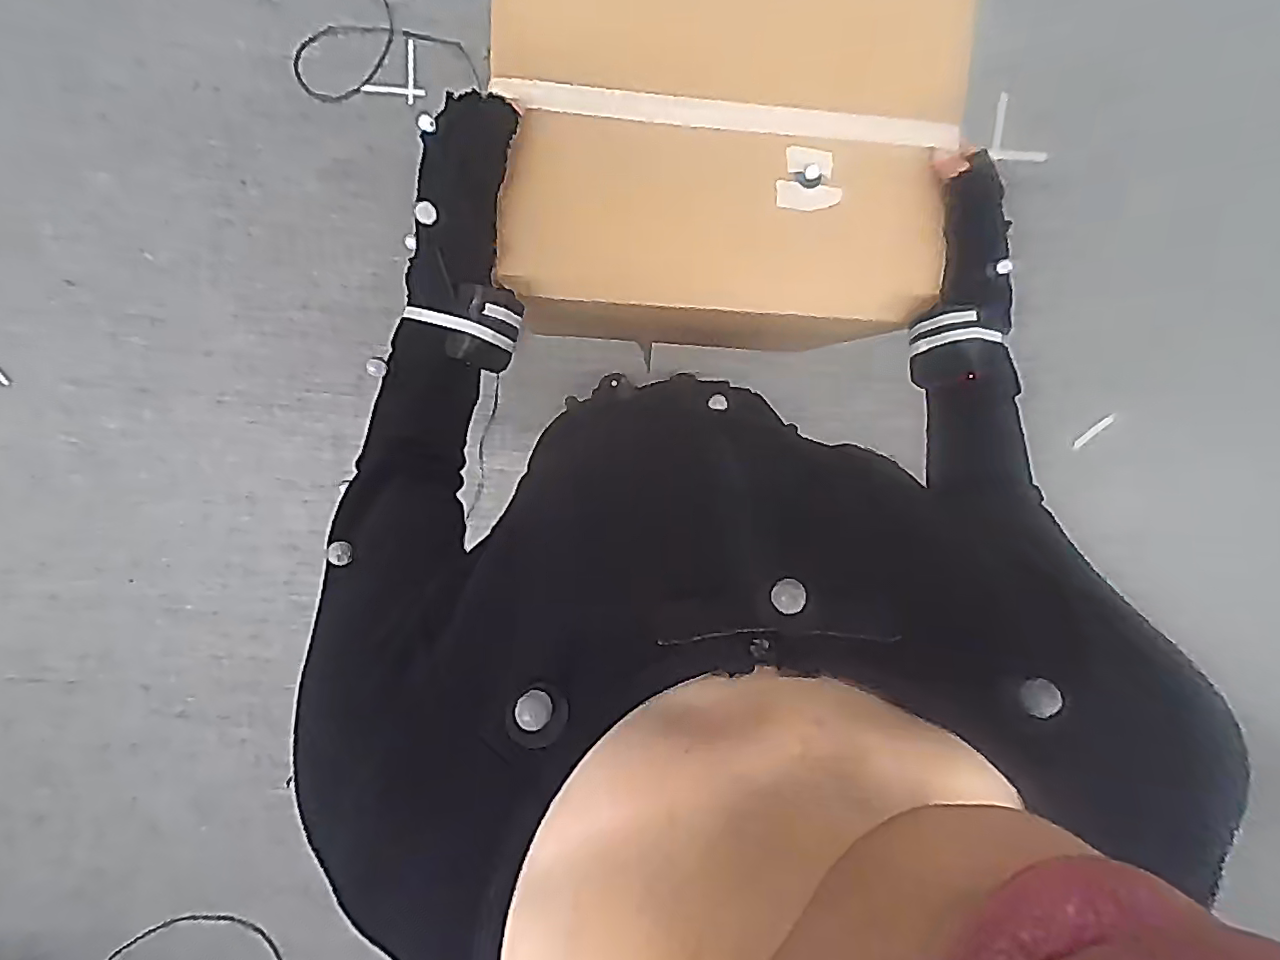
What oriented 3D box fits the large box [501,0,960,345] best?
[{"bbox_3d":[0.065,-0.335,0.618,0.408,0.320,0.320,2,98,-6],"label":"large box"}]
